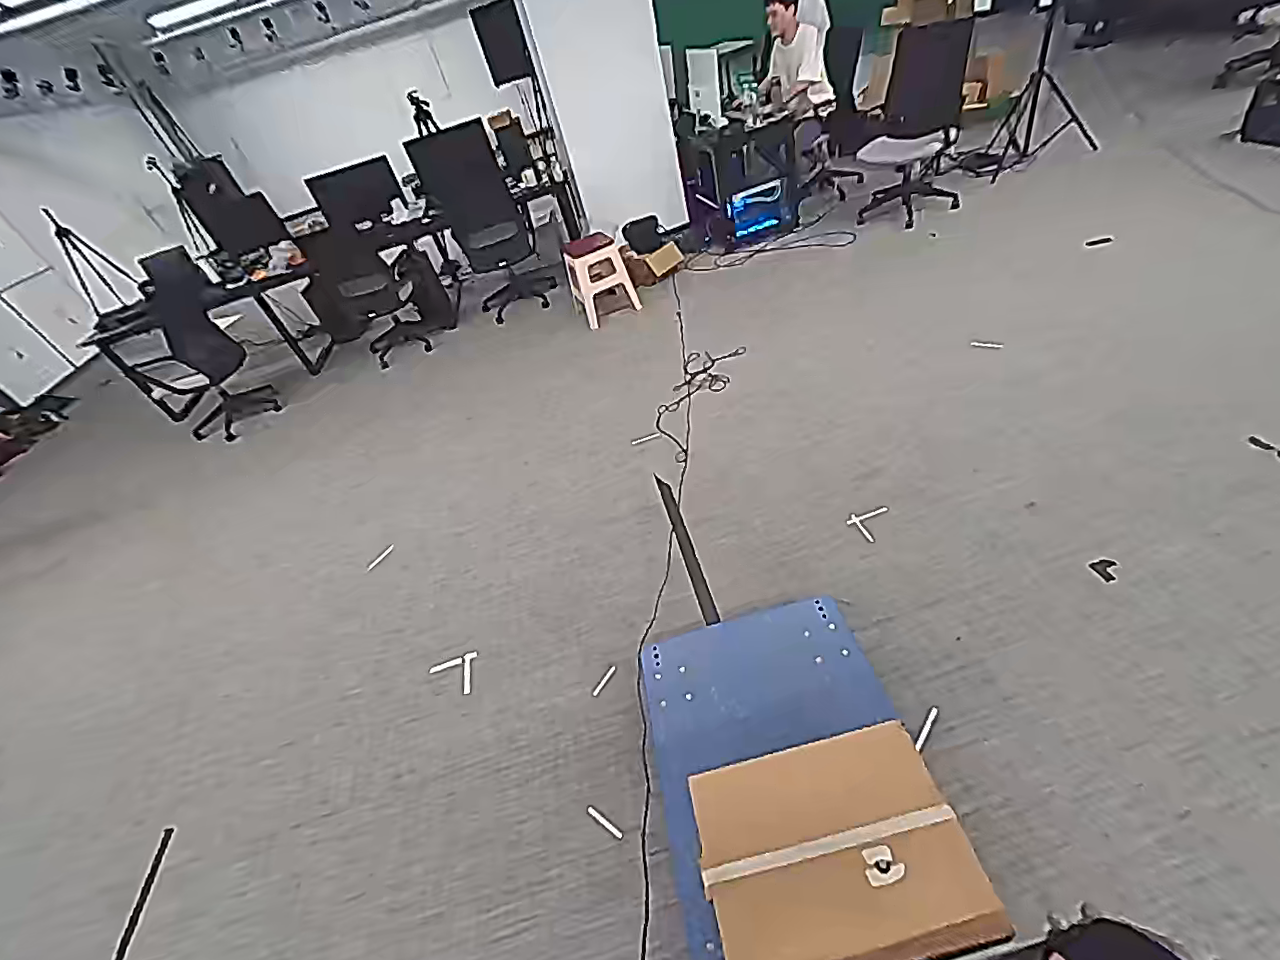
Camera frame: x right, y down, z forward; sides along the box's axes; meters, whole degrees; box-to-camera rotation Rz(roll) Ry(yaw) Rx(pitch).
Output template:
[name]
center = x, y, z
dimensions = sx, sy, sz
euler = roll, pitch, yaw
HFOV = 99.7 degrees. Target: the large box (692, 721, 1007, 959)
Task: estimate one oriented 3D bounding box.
[large box]
center = 0.343, 0.703, 0.976
dimensions = 0.408, 0.320, 0.320
euler = -17, 40, 2
